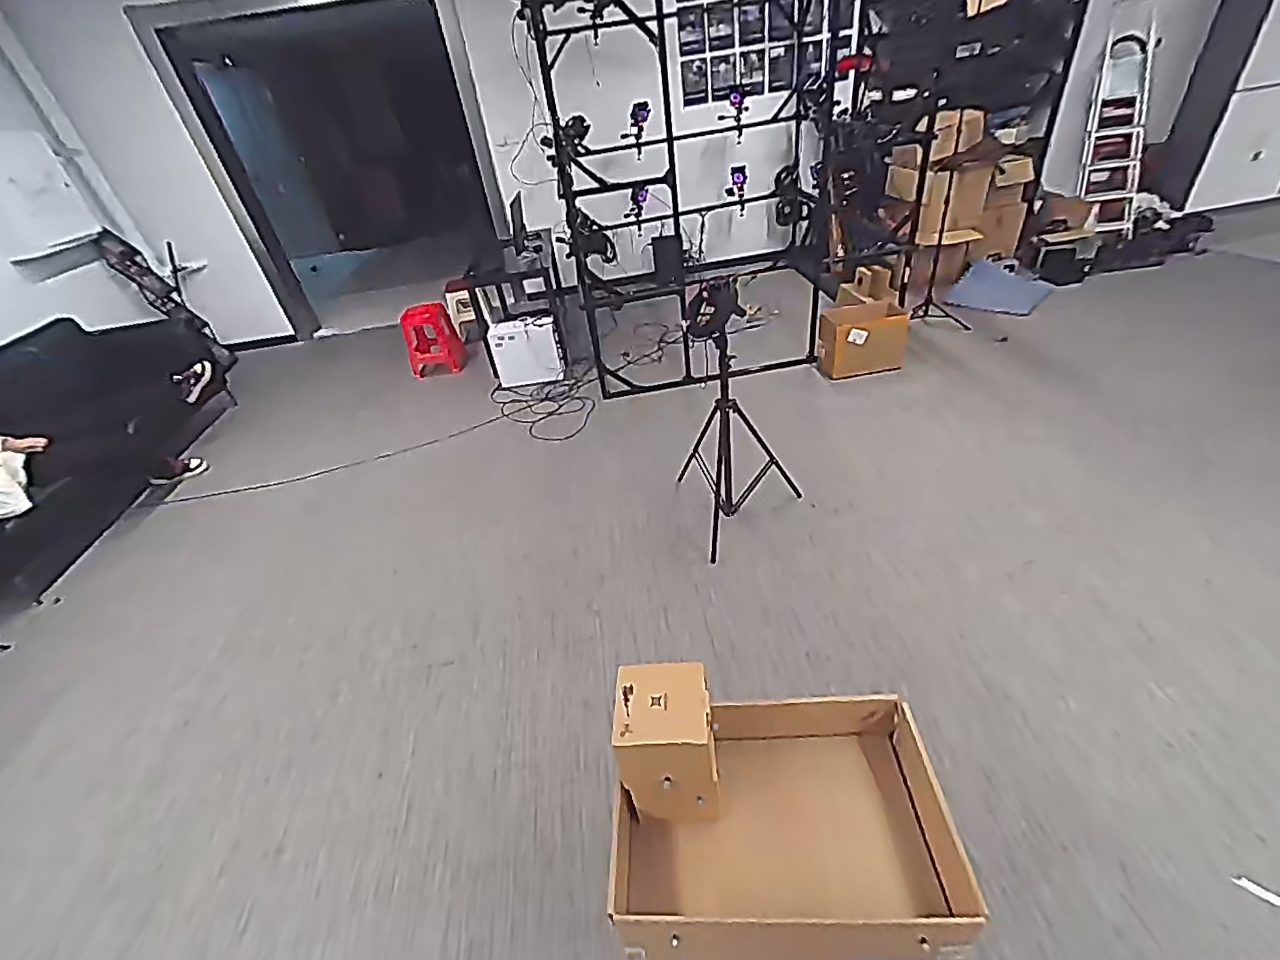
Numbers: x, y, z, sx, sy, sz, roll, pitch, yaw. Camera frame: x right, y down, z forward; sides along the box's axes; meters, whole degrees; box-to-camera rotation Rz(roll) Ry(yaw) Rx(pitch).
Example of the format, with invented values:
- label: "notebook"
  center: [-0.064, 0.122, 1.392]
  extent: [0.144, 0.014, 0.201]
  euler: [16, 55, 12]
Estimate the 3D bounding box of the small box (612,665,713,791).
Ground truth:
- label: "small box"
  center: [0.051, 0.479, 1.045]
  extent: [0.179, 0.176, 0.168]
  euler: [-4, 35, 7]
